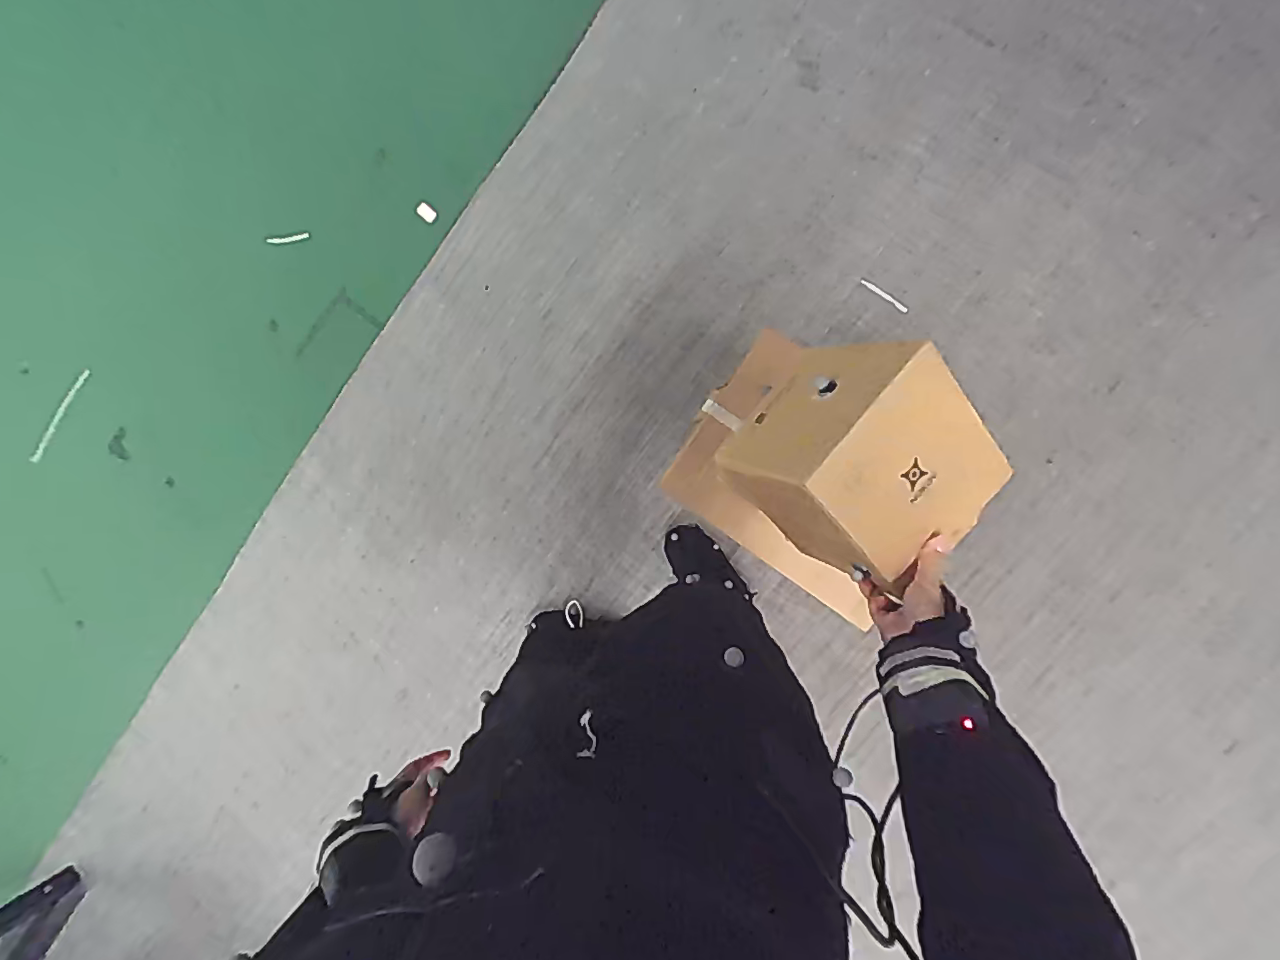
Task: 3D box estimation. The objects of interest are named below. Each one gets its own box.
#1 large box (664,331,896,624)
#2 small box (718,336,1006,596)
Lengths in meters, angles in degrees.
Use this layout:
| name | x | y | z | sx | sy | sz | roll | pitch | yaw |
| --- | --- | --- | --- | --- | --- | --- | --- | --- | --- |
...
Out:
| name | x | y | z | sx | sy | sz | roll | pitch | yaw |
| --- | --- | --- | --- | --- | --- | --- | --- | --- | --- |
| large box | 0.303 | -0.011 | 0.998 | 0.408 | 0.320 | 0.320 | 35 | 98 | 6 |
| small box | 0.211 | -0.020 | 0.548 | 0.168 | 0.176 | 0.179 | -48 | 113 | -6 |
